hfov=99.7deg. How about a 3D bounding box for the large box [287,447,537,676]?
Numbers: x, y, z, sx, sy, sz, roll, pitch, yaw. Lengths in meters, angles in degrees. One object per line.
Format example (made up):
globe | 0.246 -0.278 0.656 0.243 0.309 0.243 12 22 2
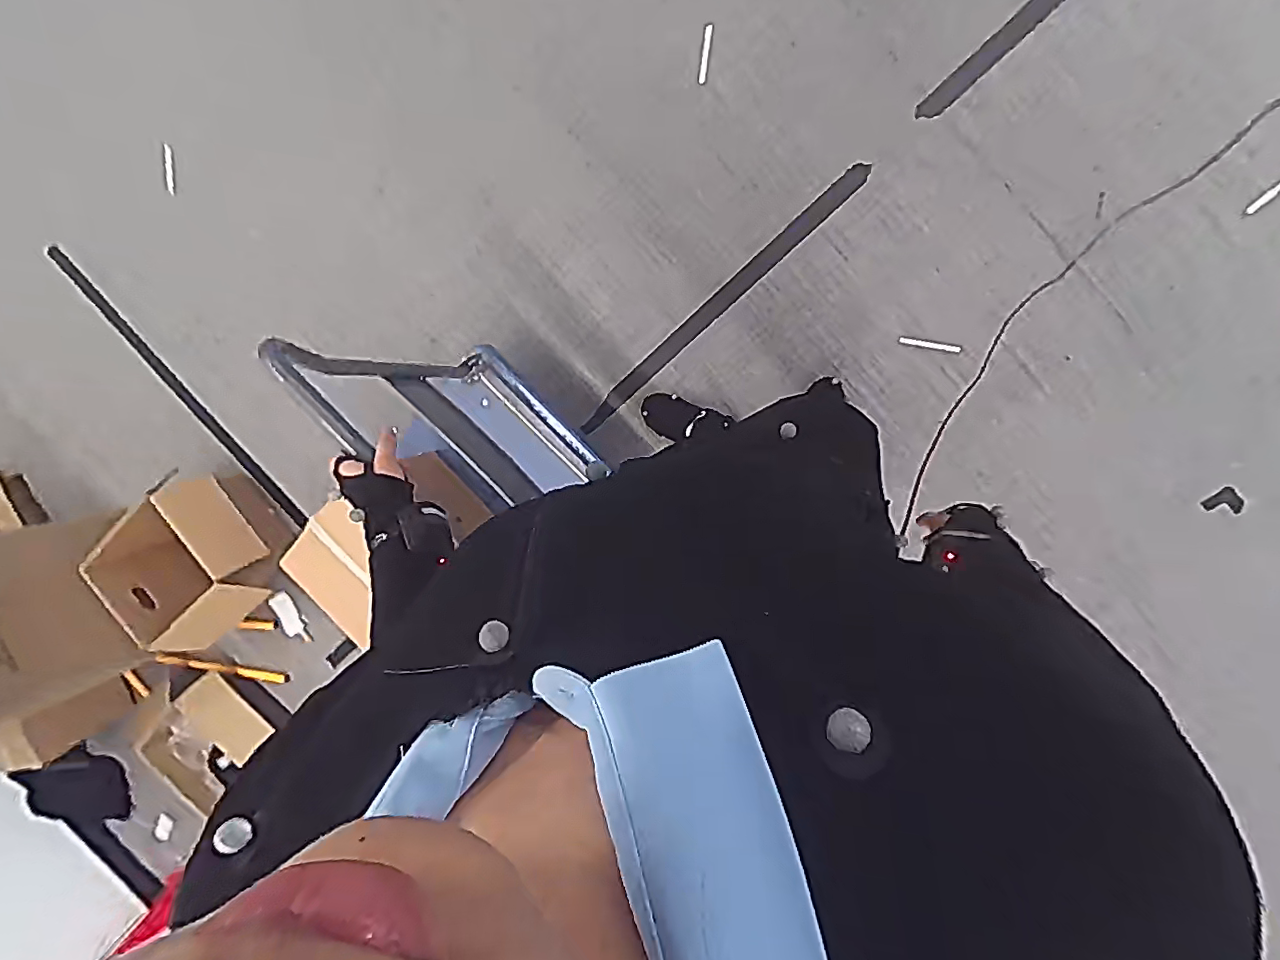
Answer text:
large box | -0.538 0.179 1.334 0.408 0.320 0.320 46 108 -2
